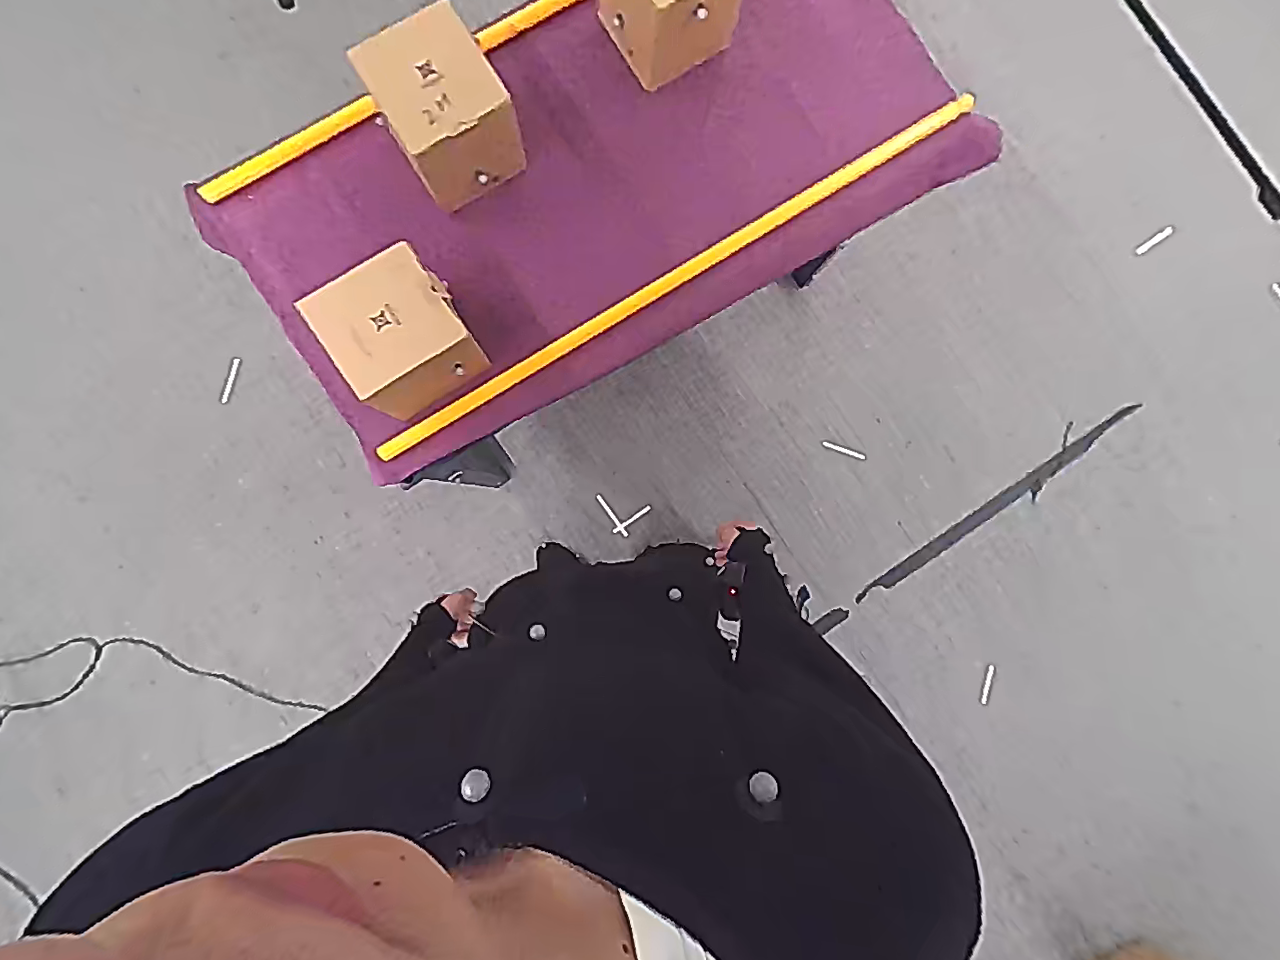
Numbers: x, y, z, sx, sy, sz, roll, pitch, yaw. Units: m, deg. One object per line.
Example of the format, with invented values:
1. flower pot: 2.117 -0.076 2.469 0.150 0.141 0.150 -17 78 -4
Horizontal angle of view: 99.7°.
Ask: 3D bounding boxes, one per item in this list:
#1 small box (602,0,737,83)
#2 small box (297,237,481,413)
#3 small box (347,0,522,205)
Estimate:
1. small box: 0.048 -0.808 0.875 0.179 0.176 0.168 -33 91 -3
2. small box: -0.362 -0.224 0.825 0.179 0.176 0.168 -34 89 -6
3. small box: -0.306 -0.577 0.844 0.168 0.176 0.179 -33 92 -4
